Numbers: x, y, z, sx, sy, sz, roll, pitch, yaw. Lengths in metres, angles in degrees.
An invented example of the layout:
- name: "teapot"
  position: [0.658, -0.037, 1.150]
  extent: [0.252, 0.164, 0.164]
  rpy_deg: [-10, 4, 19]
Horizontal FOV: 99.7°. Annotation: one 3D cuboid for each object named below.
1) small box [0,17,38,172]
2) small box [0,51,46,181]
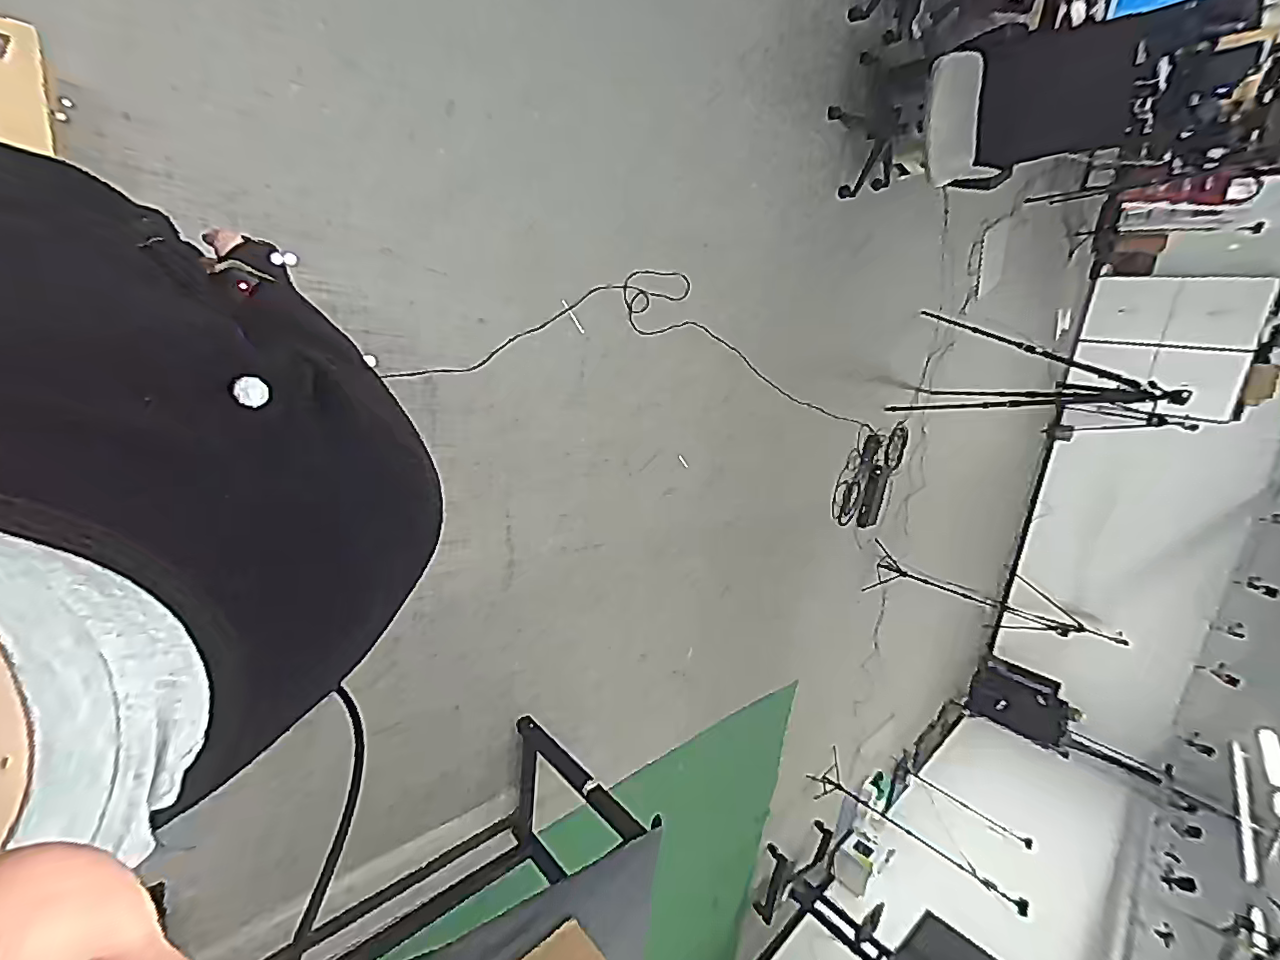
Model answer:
- name: "small box"
  position: [-0.987, -0.562, 0.763]
  extent: [0.168, 0.176, 0.179]
  rpy_deg: [-7, 110, -44]
- name: "small box"
  position: [-1.096, -0.610, 0.876]
  extent: [0.168, 0.176, 0.179]
  rpy_deg: [-6, 110, -44]
